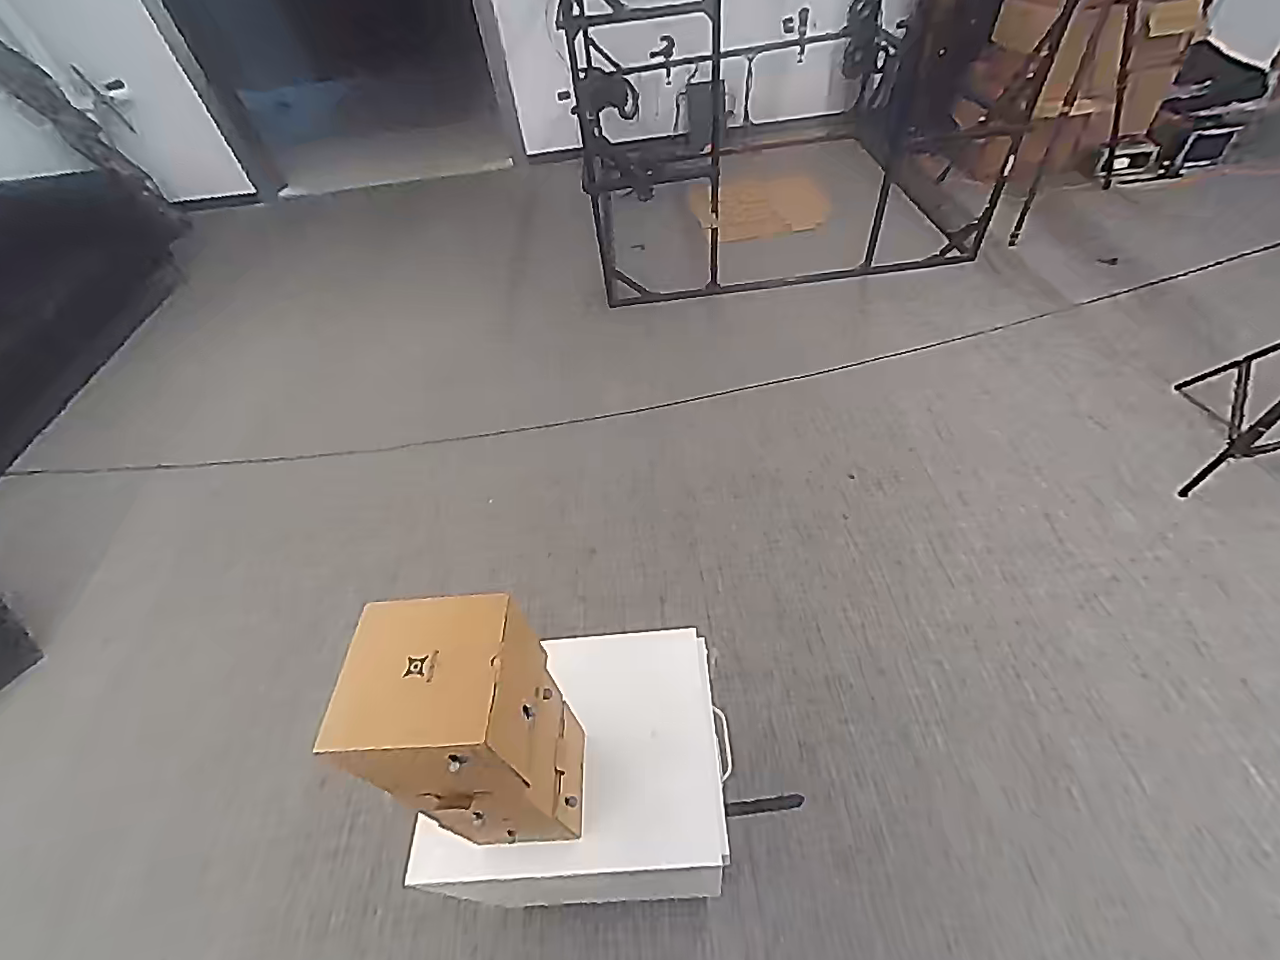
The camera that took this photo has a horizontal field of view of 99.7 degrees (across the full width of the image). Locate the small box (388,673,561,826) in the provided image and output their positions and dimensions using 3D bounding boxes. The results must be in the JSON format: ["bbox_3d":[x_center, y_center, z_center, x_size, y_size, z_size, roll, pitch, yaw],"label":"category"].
[{"bbox_3d":[-0.211,0.361,0.751,0.168,0.176,0.179,-4,48,5],"label":"small box"}]

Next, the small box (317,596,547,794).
[{"bbox_3d":[-0.220,0.253,0.628,0.179,0.176,0.168,-4,47,4],"label":"small box"}]
